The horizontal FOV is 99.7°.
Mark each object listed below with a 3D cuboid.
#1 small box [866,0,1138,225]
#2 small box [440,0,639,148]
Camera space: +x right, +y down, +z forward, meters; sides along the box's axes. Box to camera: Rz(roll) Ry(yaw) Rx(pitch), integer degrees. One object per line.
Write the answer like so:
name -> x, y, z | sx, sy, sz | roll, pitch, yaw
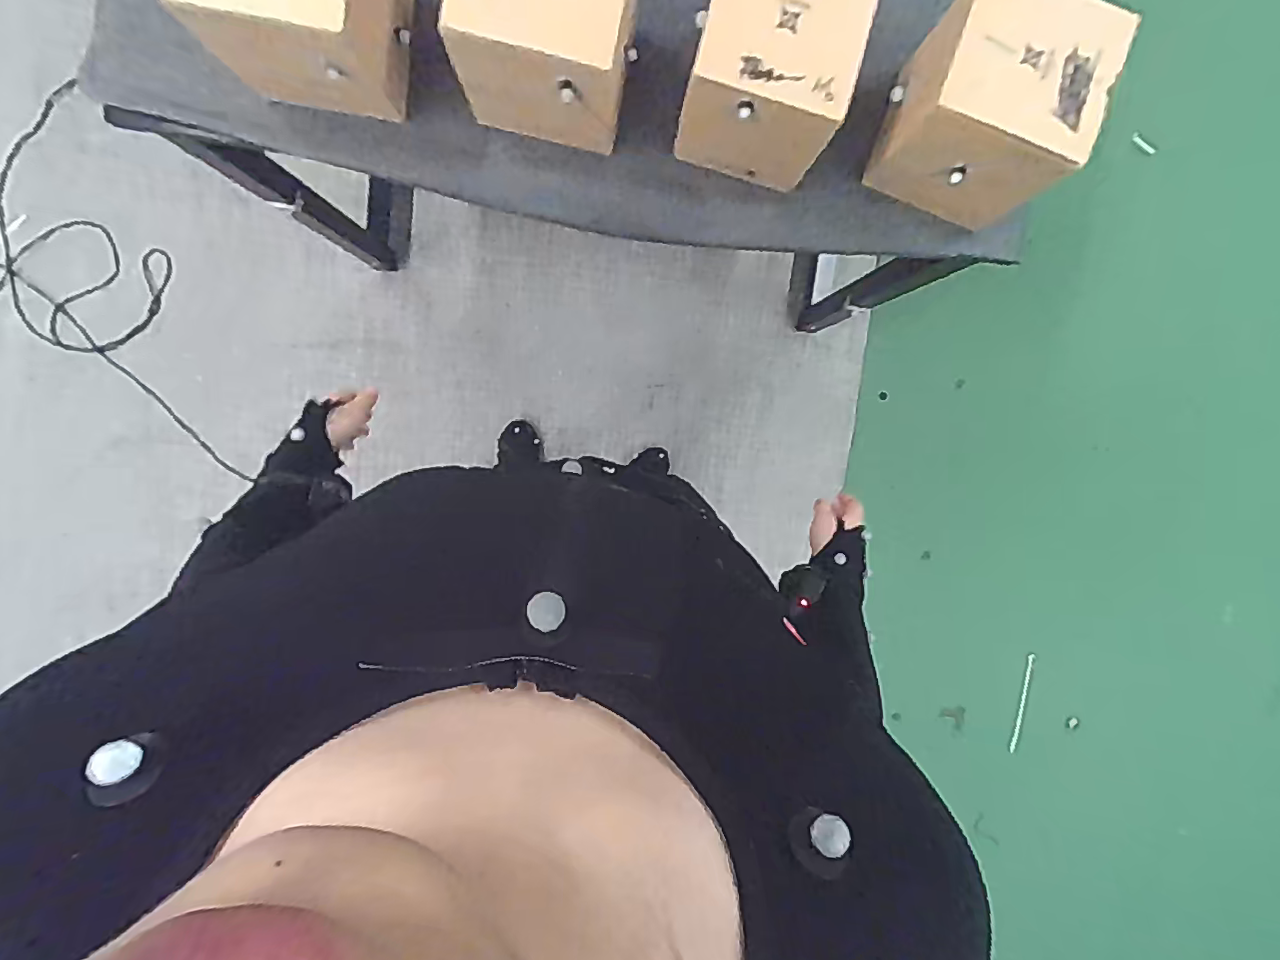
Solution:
small box -> 0.407, -0.432, 0.639 | 0.179, 0.176, 0.168 | 20, 91, -4
small box -> -0.098, -0.510, 0.608 | 0.179, 0.176, 0.168 | 12, 94, -3
